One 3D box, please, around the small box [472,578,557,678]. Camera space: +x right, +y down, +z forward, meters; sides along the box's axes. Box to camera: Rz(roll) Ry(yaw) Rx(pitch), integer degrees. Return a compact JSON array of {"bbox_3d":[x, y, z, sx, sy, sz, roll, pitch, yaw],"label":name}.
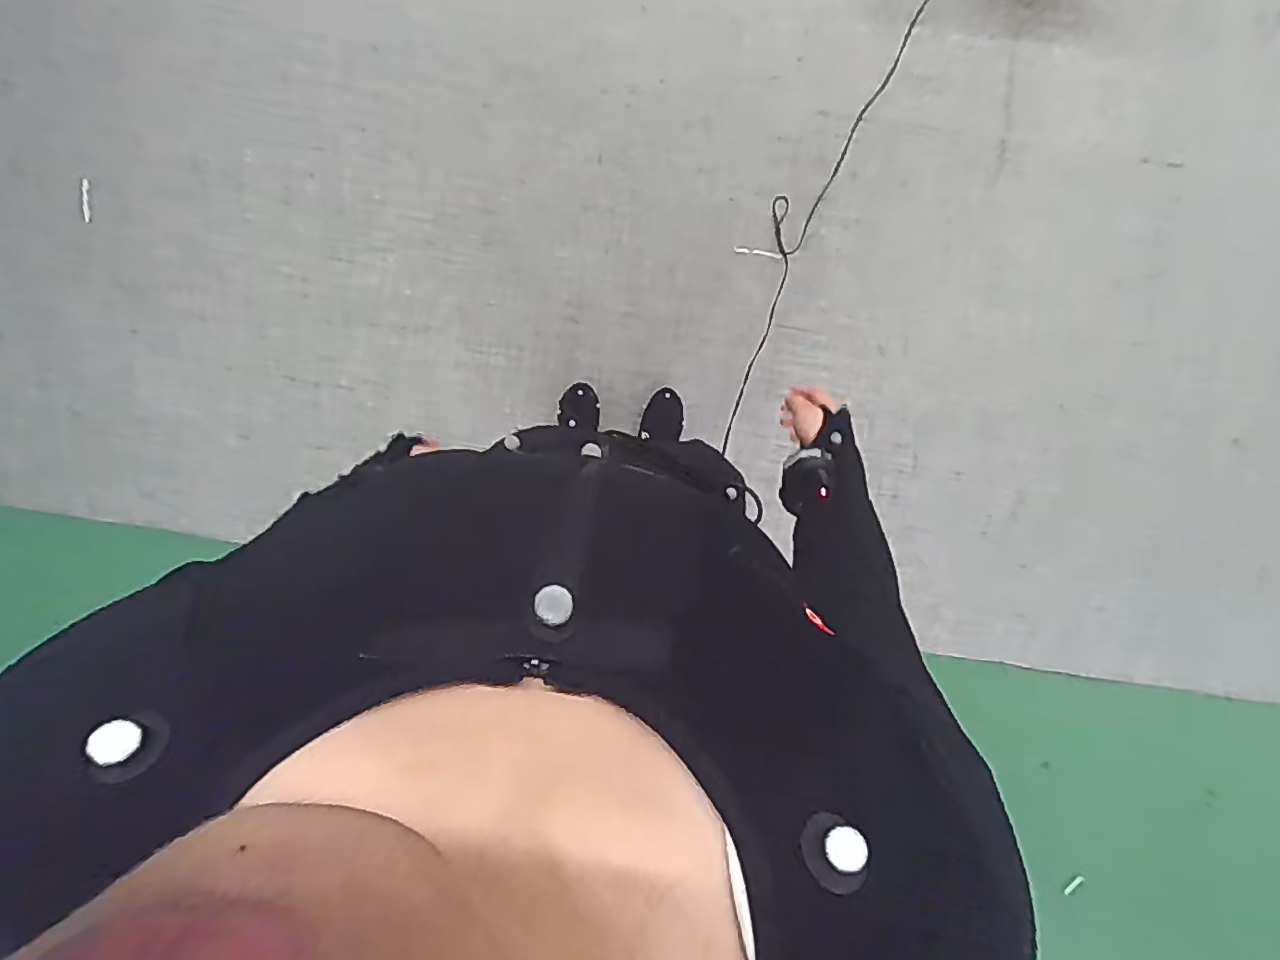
[{"bbox_3d":[-0.297,0.350,1.253,0.168,0.176,0.179,12,98,-1],"label":"small box"}]
